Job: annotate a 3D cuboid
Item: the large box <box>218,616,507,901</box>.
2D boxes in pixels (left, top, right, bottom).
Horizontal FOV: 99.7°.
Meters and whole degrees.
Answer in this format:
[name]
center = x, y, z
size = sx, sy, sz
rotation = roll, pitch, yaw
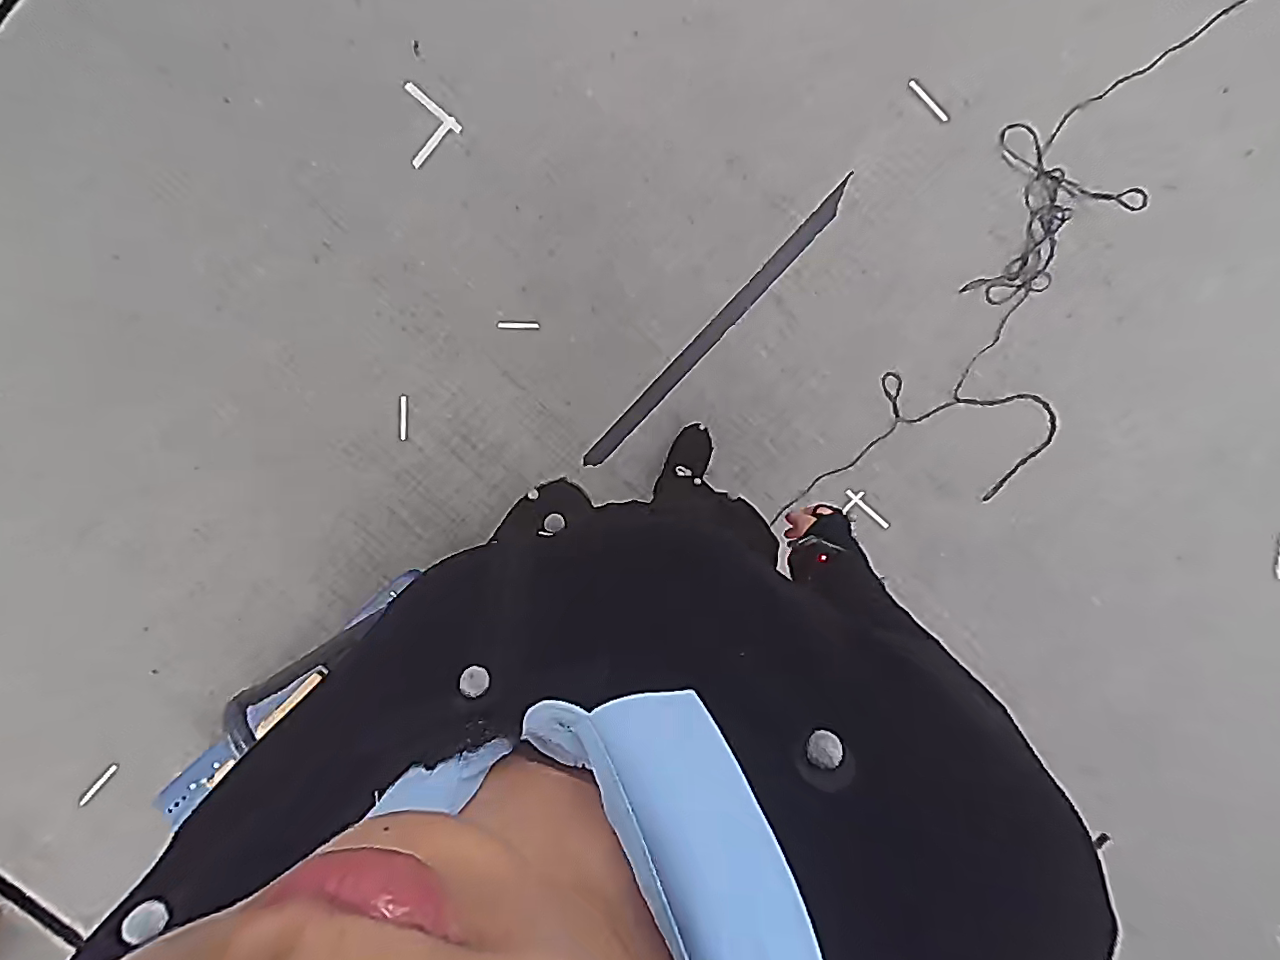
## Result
[large box]
center = -0.572, 0.583, 1.198
size = 0.408, 0.320, 0.320
rotation = 44, 91, -3
